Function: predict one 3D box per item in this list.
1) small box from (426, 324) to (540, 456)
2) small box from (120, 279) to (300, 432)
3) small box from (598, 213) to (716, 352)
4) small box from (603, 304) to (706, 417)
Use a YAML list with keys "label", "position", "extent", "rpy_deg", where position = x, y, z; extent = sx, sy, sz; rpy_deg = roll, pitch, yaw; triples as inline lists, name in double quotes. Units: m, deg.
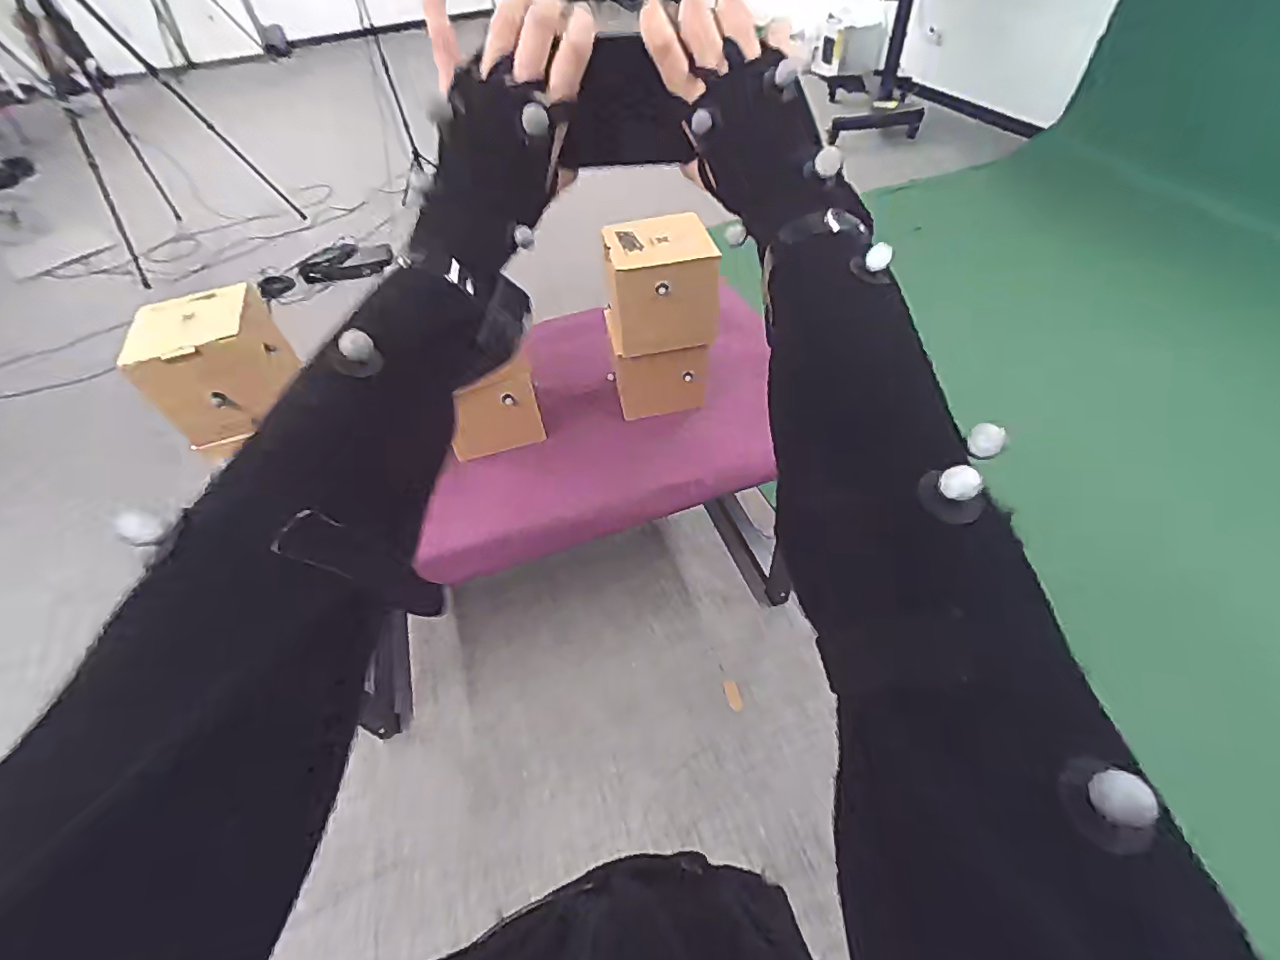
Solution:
- label: "small box"
  position: [-0.301, -0.174, 1.058]
  extent: [0.179, 0.176, 0.168]
  rpy_deg: [-15, 50, -7]
- label: "small box"
  position: [-0.695, -0.199, 0.900]
  extent: [0.168, 0.176, 0.179]
  rpy_deg: [-18, 52, -11]
- label: "small box"
  position: [0.030, -0.346, 0.962]
  extent: [0.179, 0.176, 0.168]
  rpy_deg: [-10, 50, -4]
- label: "small box"
  position: [0.028, -0.249, 1.095]
  extent: [0.179, 0.176, 0.168]
  rpy_deg: [-10, 50, -3]
